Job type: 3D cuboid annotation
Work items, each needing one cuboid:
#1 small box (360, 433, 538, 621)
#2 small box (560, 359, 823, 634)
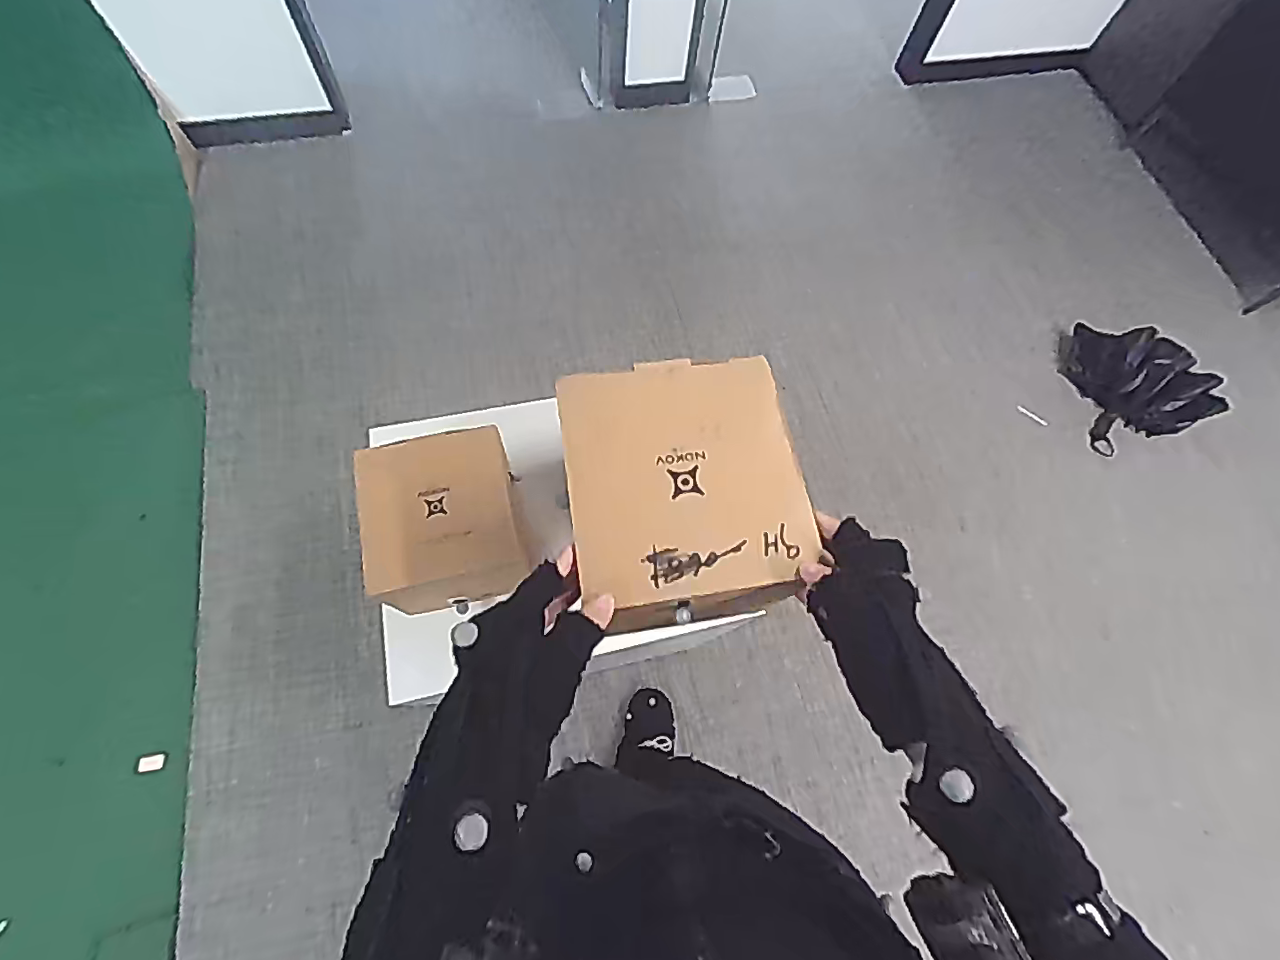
[{"bbox_3d":[-0.233,0.066,0.690,0.168,0.176,0.179,-14,71,-9],"label":"small box"},{"bbox_3d":[0.027,0.024,0.460,0.168,0.176,0.179,-8,70,-5],"label":"small box"}]
